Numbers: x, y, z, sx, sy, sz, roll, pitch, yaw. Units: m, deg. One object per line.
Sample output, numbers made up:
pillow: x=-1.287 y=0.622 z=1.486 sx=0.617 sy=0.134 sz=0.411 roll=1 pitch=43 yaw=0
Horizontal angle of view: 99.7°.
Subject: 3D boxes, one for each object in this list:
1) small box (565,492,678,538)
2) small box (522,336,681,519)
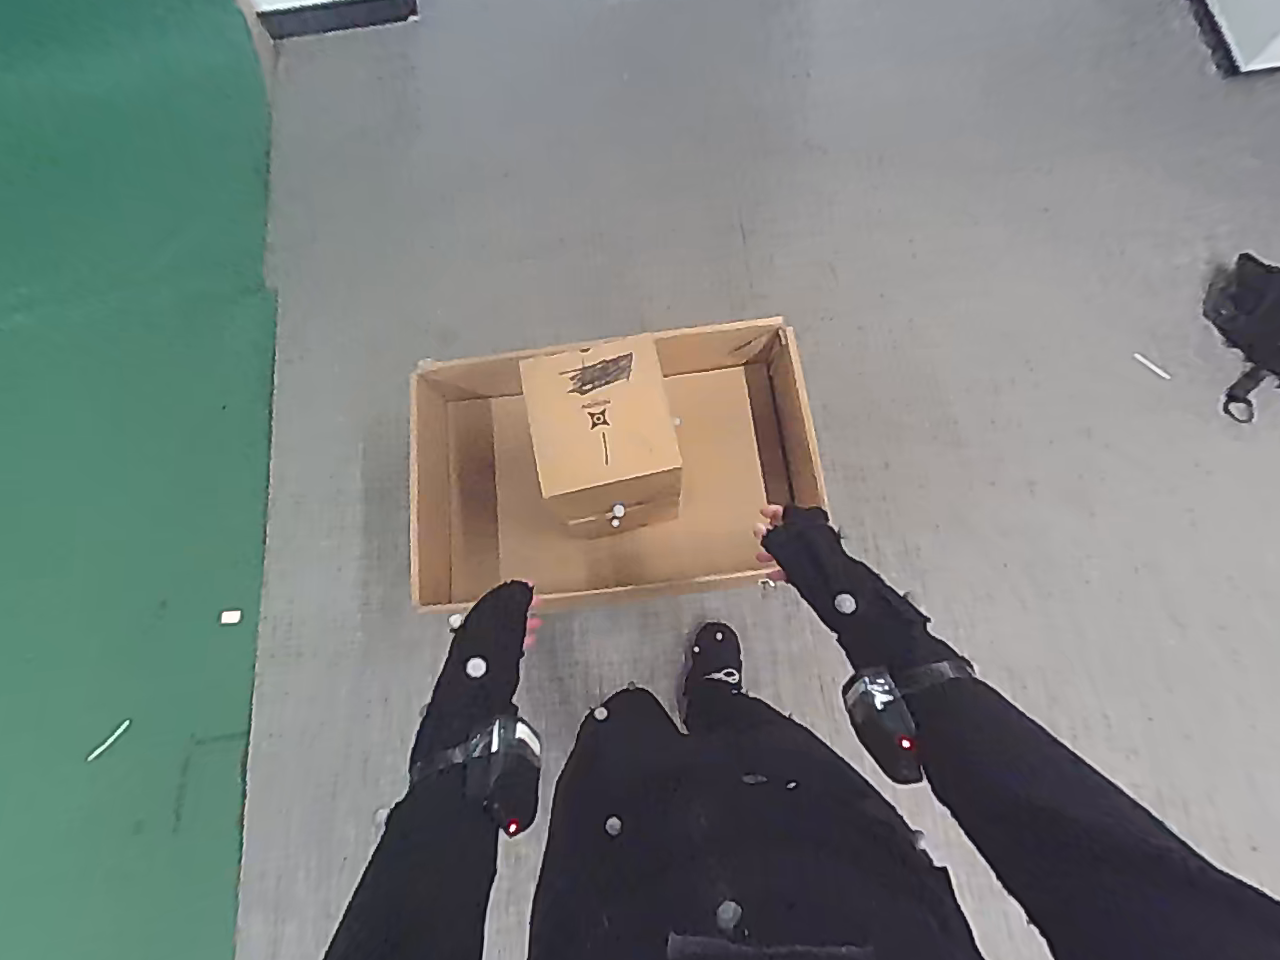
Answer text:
small box: x=-0.038 y=-0.017 z=0.874 sx=0.168 sy=0.176 sz=0.179 roll=-14 pitch=75 yaw=1
small box: x=-0.046 y=-0.060 z=0.716 sx=0.168 sy=0.176 sz=0.179 roll=-12 pitch=76 yaw=0
